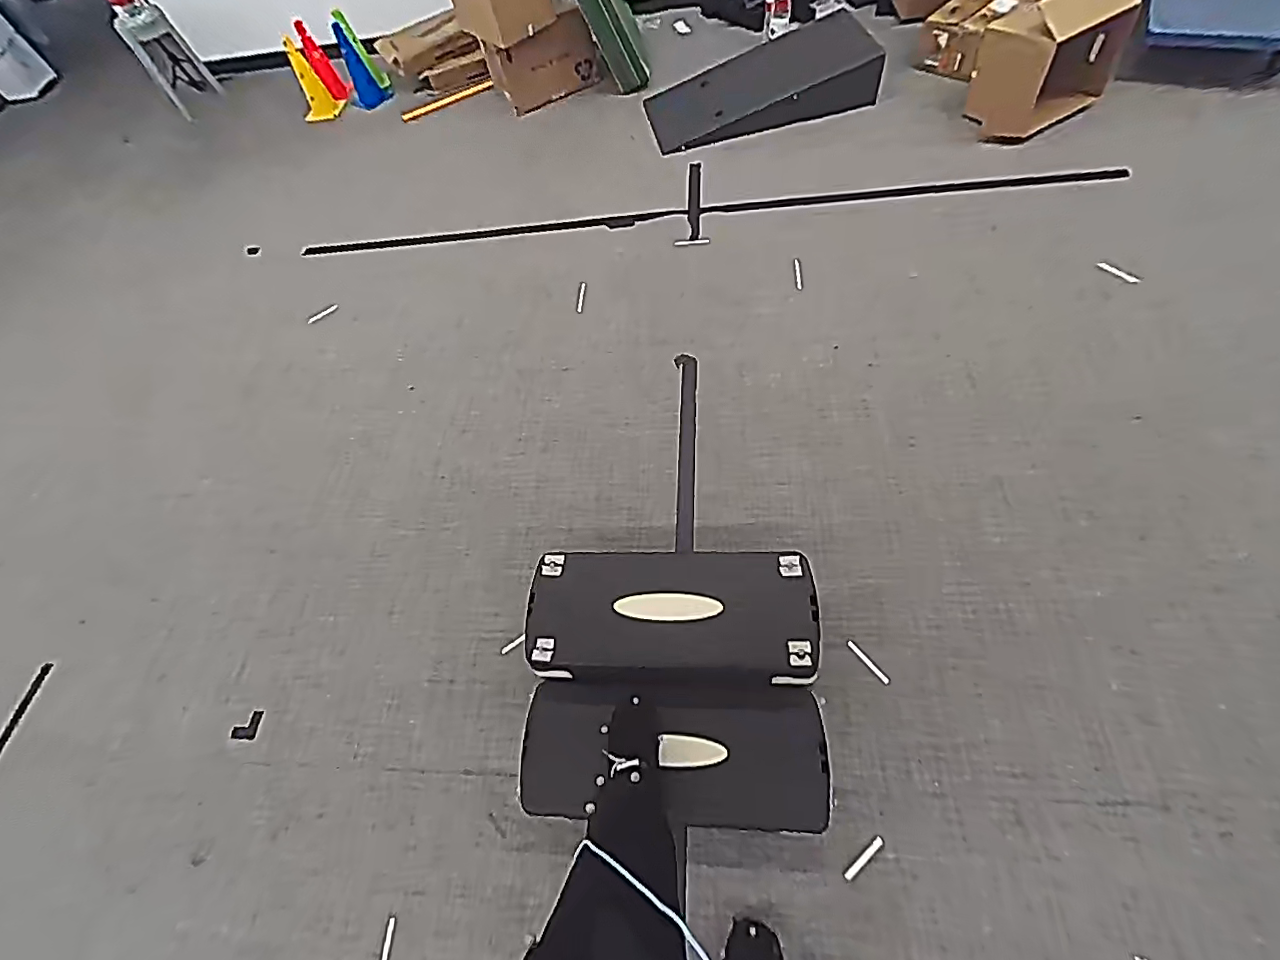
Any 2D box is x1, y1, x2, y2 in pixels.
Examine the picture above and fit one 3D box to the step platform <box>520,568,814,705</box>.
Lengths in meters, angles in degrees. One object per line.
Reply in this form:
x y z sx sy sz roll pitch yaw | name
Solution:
0.060 0.370 1.300 0.684 0.204 0.286 -2 60 7 | step platform
